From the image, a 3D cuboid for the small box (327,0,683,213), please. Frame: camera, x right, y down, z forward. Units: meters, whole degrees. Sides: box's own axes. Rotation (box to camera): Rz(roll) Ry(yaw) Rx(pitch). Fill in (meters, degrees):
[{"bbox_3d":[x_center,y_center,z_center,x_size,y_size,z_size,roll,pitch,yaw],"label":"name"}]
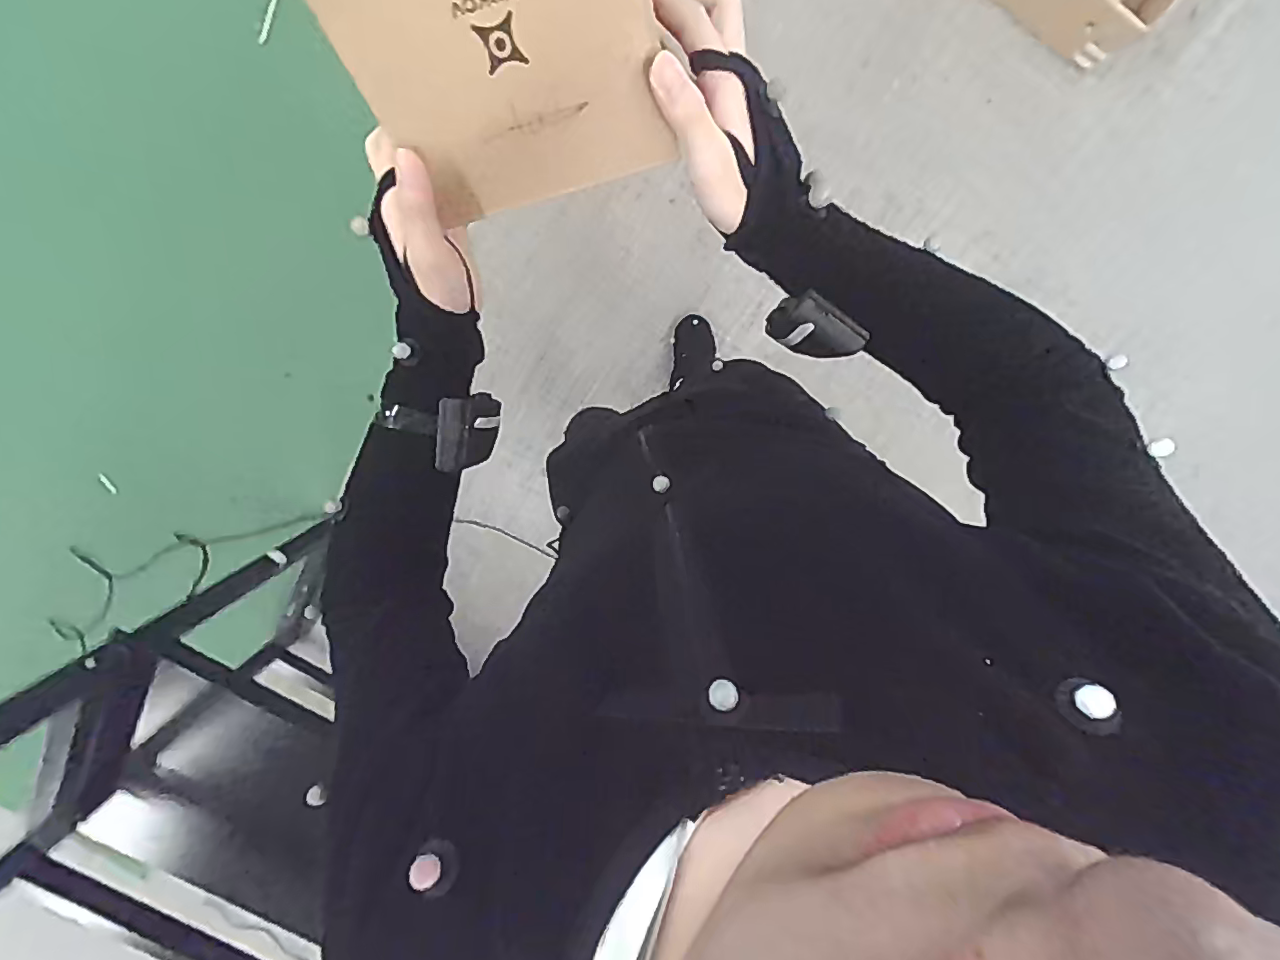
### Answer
[{"bbox_3d":[-0.075,-0.301,0.321,0.168,0.176,0.179,-10,145,9],"label":"small box"}]
